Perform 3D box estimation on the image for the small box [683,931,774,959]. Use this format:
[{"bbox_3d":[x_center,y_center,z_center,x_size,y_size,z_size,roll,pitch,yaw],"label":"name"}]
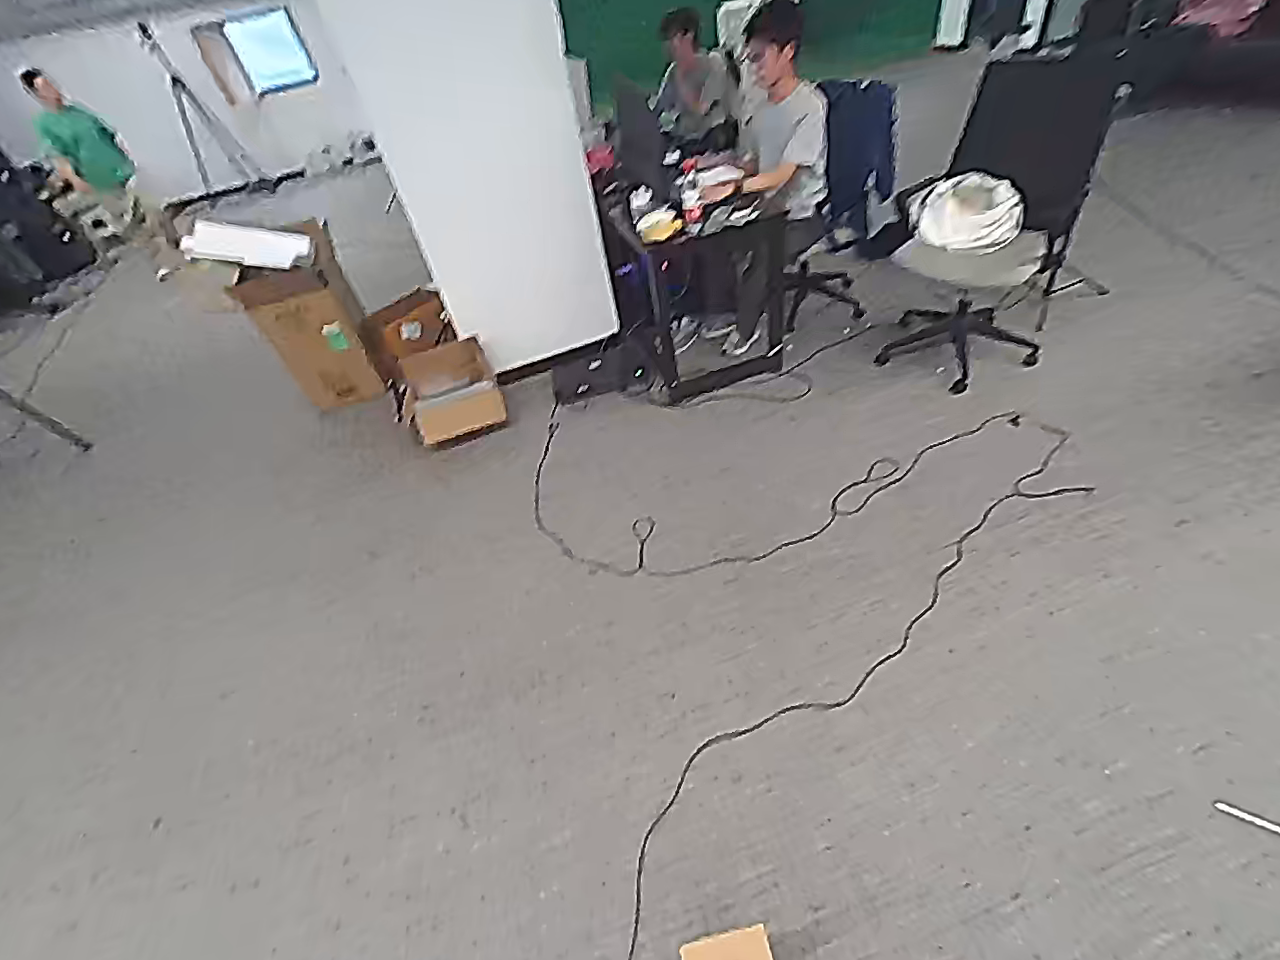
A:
[{"bbox_3d":[0.187,0.977,1.002,0.168,0.176,0.179,-14,42,-2],"label":"small box"}]
